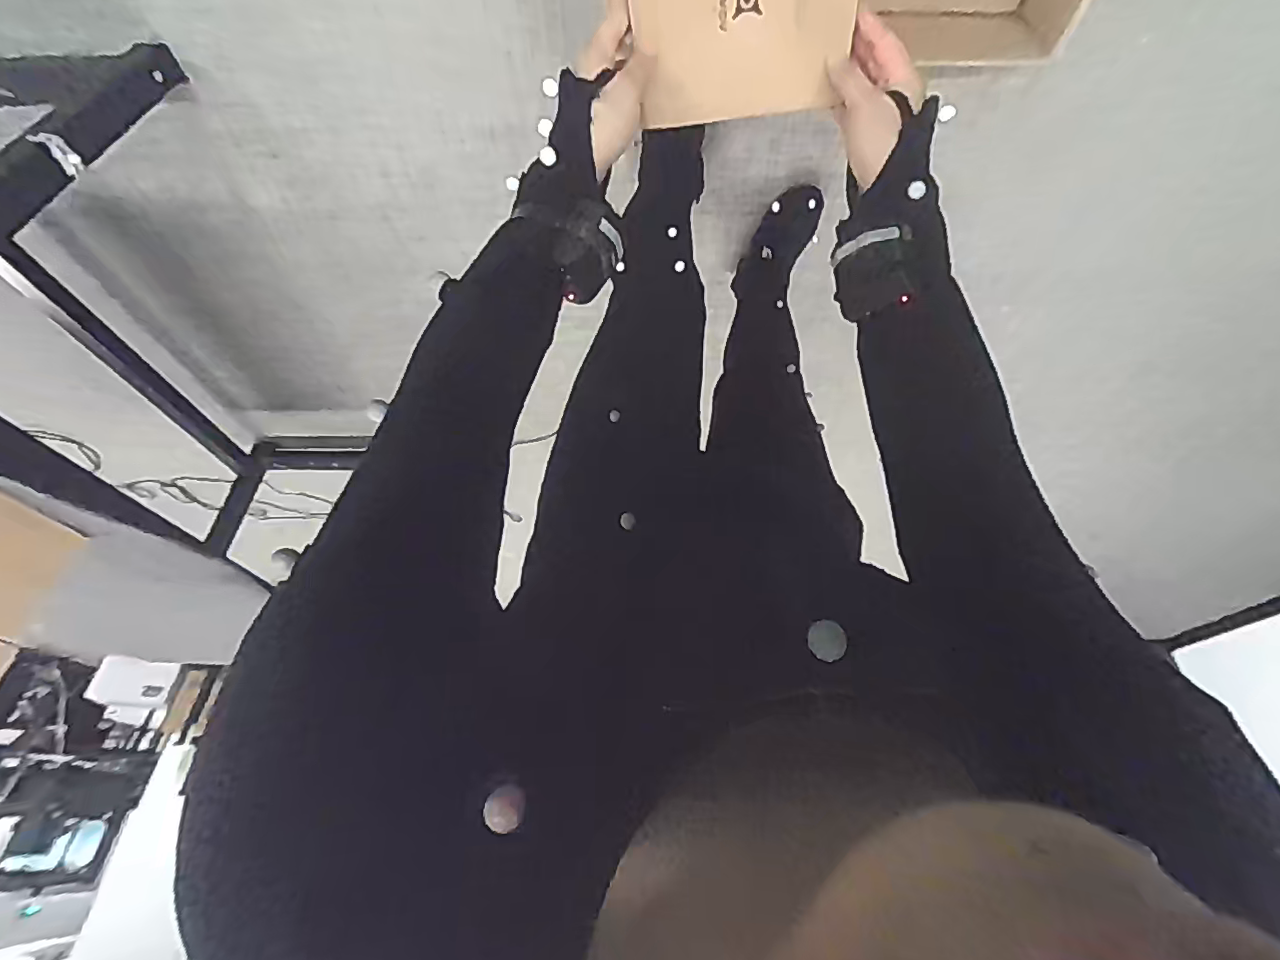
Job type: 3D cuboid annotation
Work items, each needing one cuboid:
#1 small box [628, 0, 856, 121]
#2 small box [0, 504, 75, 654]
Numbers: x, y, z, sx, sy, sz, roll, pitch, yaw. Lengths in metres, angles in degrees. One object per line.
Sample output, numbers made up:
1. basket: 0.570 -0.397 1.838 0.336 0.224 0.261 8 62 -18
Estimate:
1. small box: 0.079 -0.438 0.451 0.179 0.176 0.168 -4 149 7
2. small box: -0.919 0.115 0.696 0.168 0.176 0.179 5 149 -1
